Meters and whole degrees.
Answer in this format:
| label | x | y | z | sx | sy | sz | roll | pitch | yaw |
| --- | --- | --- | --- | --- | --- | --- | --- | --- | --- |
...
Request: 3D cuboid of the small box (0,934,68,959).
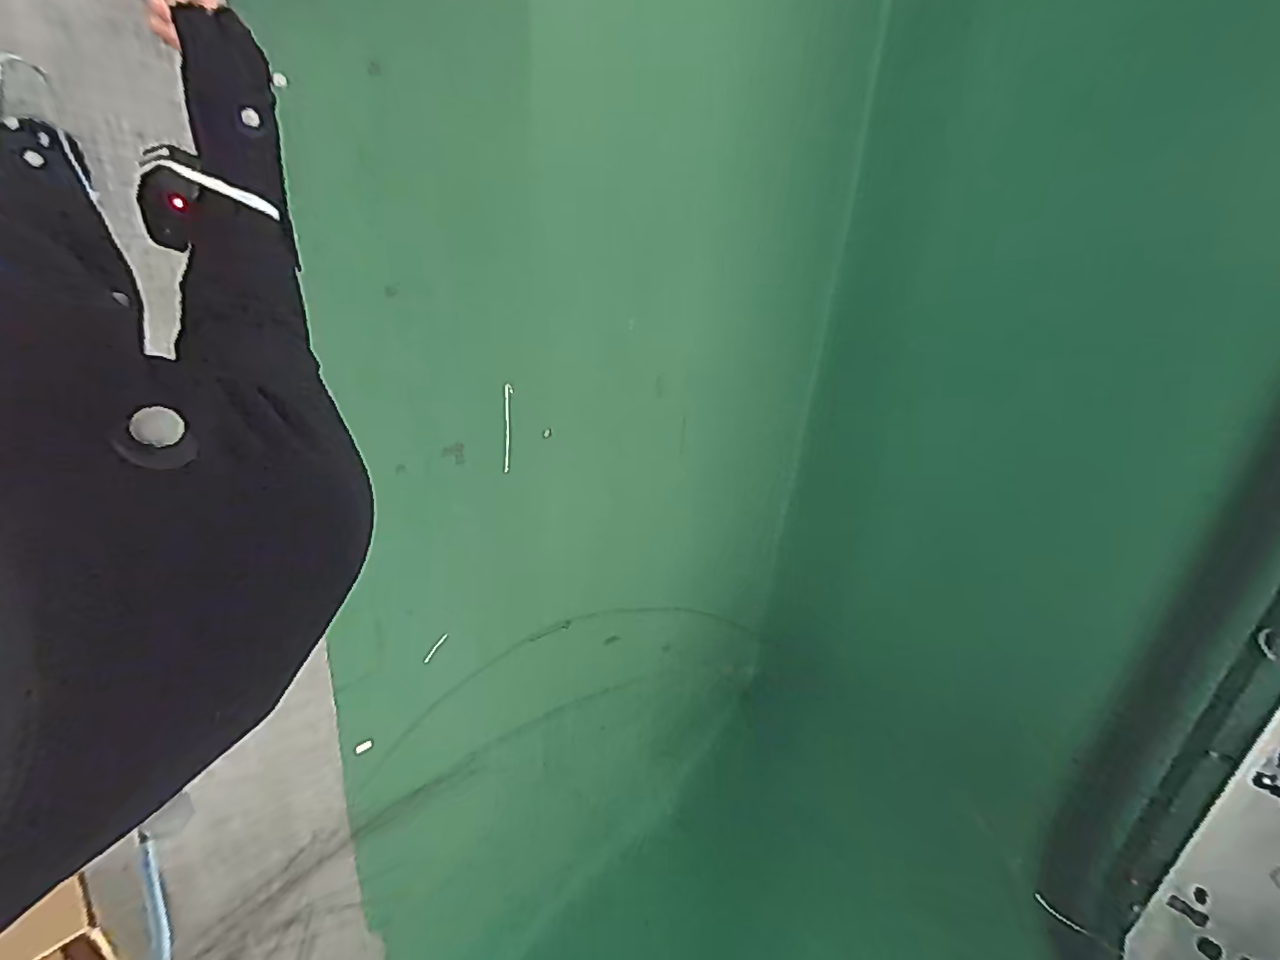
| label | x | y | z | sx | sy | sz | roll | pitch | yaw |
| --- | --- | --- | --- | --- | --- | --- | --- | --- | --- |
| small box | -1.380 | 1.169 | 1.190 | 0.168 | 0.176 | 0.179 | -19 | 124 | -46 |
